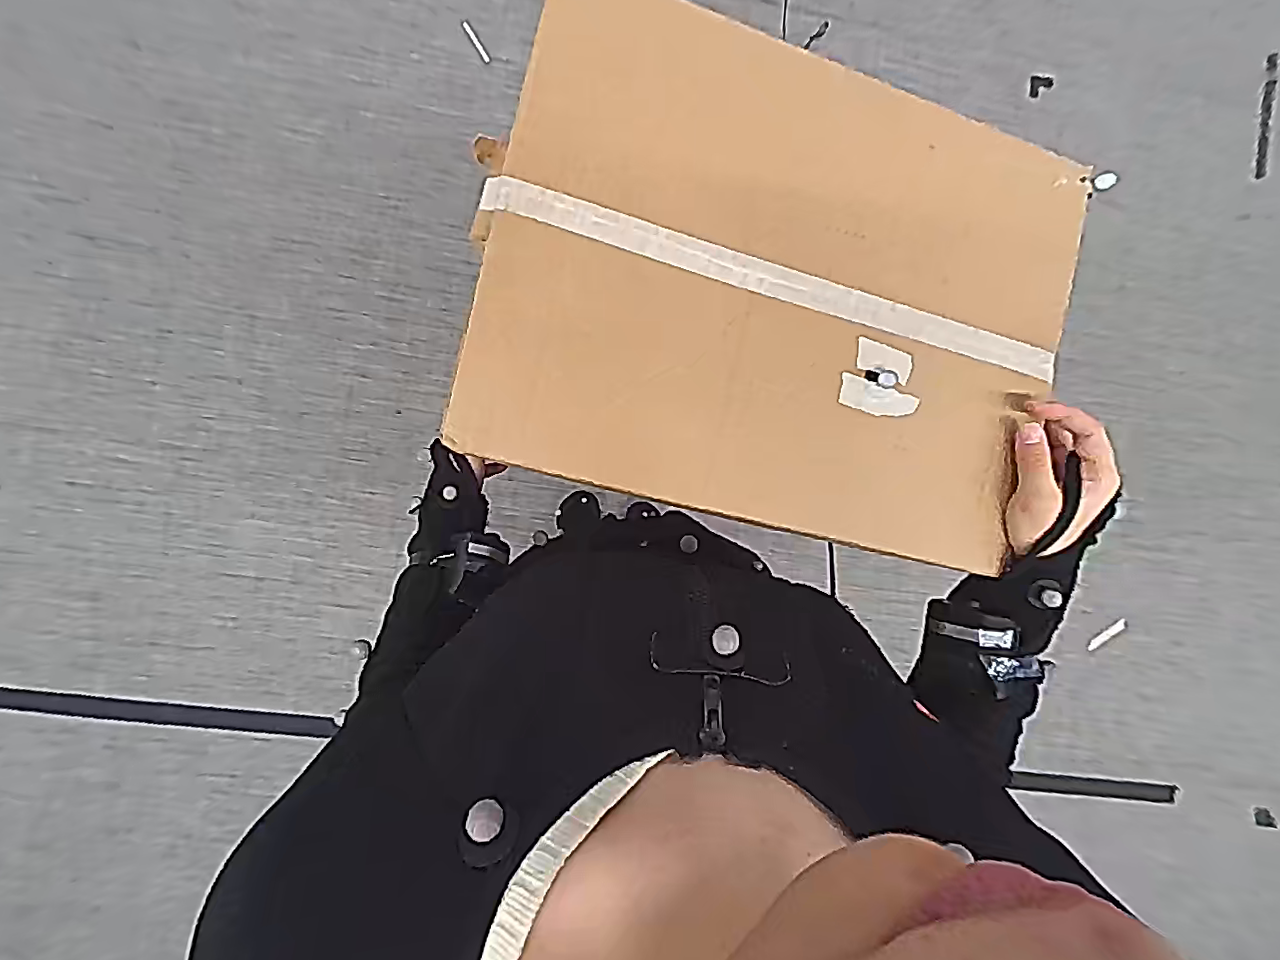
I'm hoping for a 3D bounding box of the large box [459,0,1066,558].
[{"bbox_3d":[0.077,-0.131,0.515,0.408,0.320,0.320,13,89,-12],"label":"large box"}]
